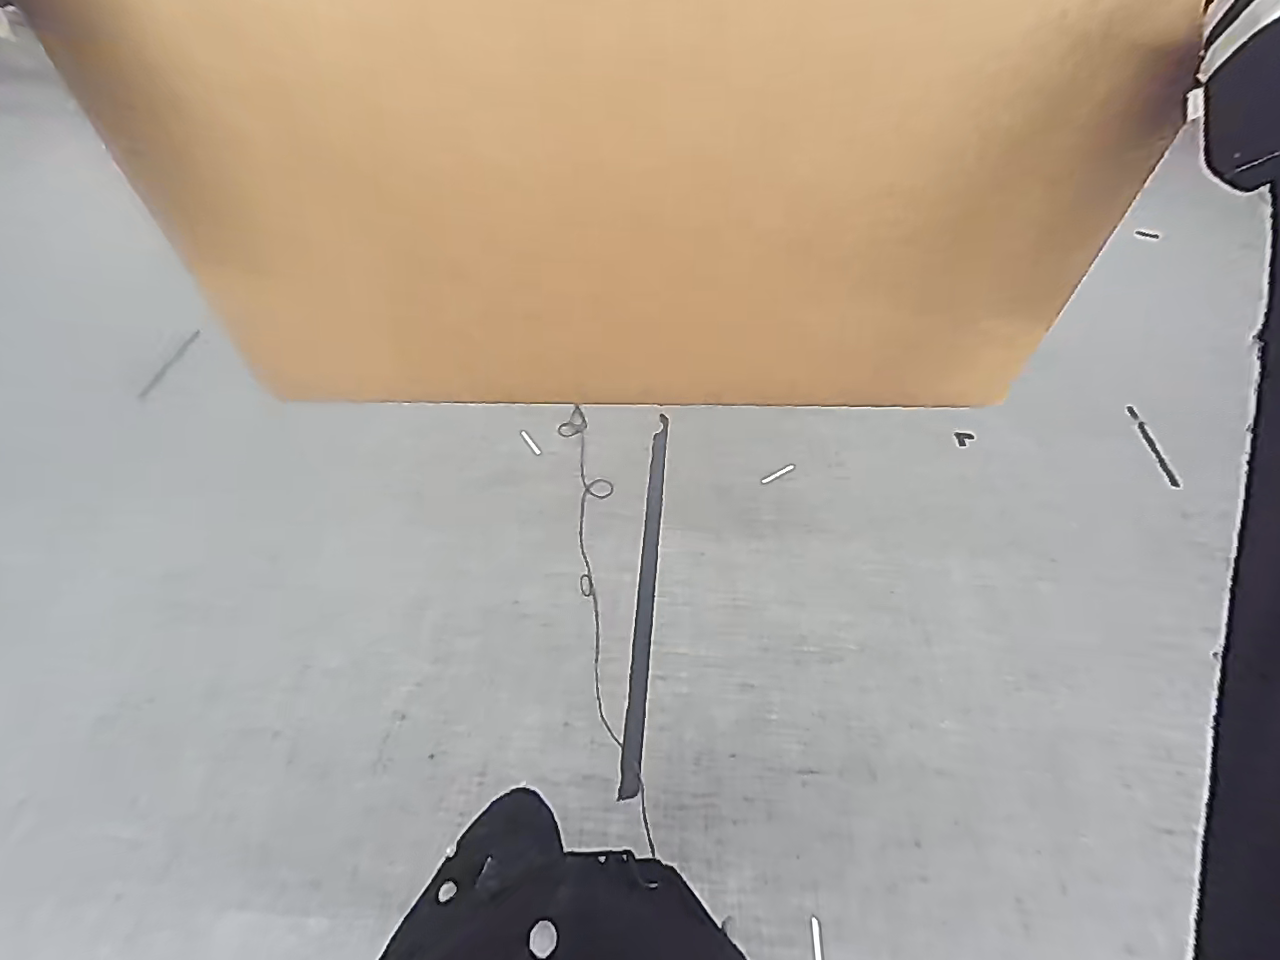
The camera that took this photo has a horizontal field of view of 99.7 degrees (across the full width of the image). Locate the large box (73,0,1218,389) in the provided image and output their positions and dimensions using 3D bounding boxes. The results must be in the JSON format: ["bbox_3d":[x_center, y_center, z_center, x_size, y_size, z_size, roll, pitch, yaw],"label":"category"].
[{"bbox_3d":[0.001,-0.262,0.295,0.408,0.320,0.320,1,48,-1],"label":"large box"}]
